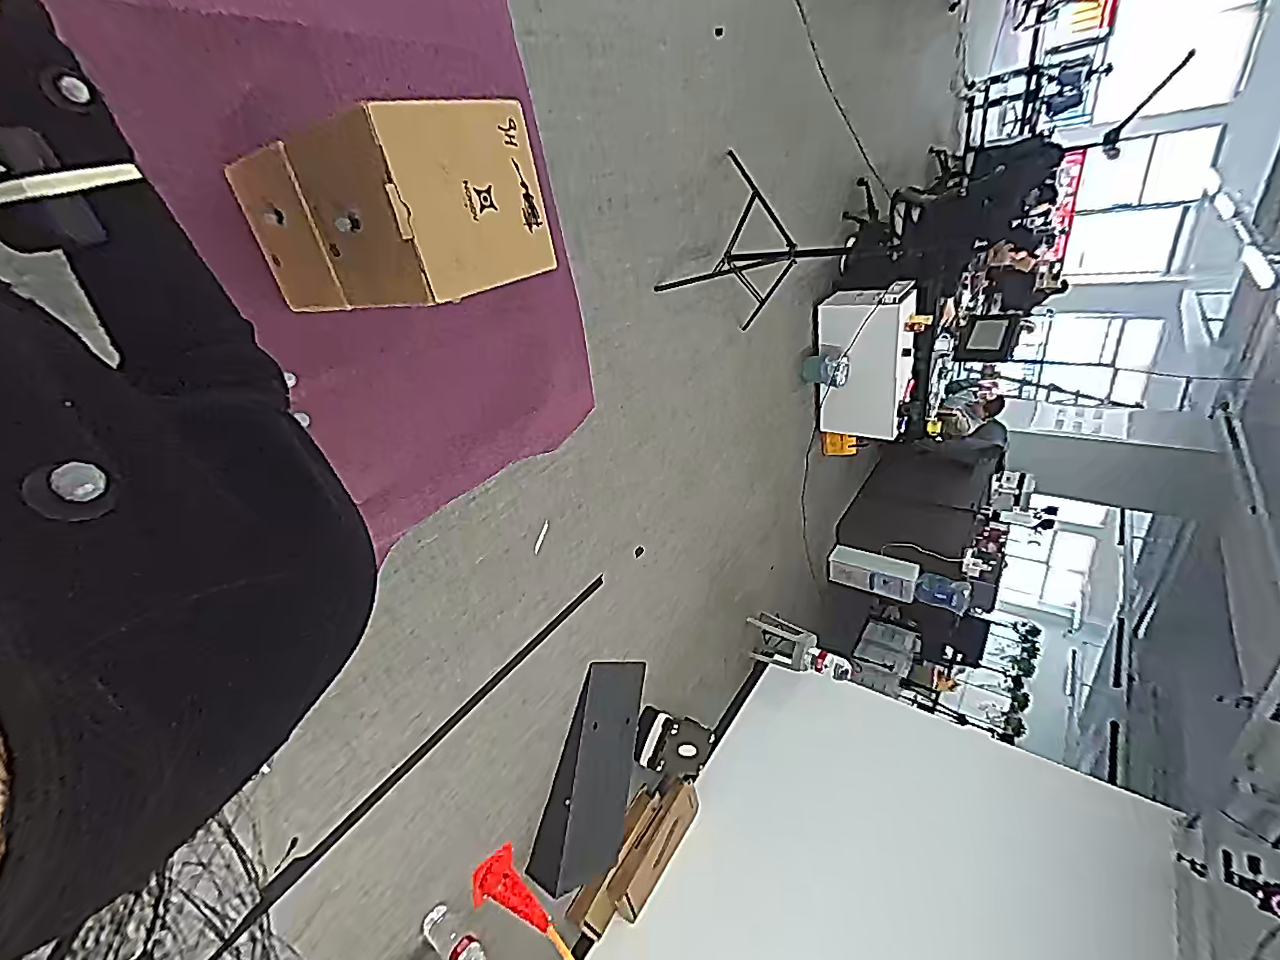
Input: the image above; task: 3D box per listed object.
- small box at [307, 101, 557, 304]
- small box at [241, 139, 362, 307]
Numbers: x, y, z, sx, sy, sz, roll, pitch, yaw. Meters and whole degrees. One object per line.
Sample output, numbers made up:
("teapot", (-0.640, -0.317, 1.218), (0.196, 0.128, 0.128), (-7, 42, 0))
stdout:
("small box", (-0.224, -0.292, 0.584), (0.179, 0.176, 0.168), (-38, 129, -41))
("small box", (-0.357, -0.319, 0.677), (0.179, 0.176, 0.168), (-40, 130, -41))
